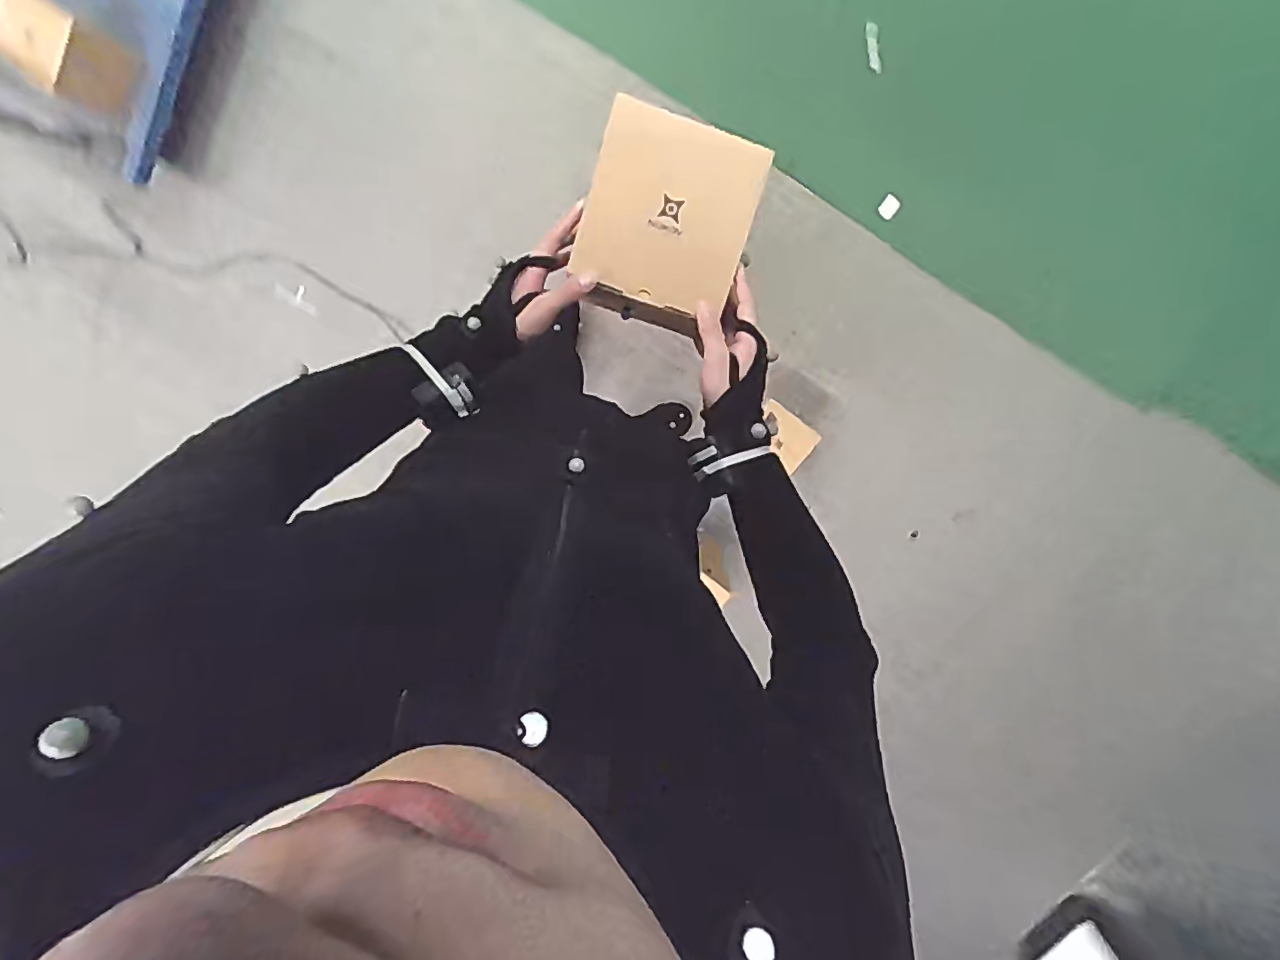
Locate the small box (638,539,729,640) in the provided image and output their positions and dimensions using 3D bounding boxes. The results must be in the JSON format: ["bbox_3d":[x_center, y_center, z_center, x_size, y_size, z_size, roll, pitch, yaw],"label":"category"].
[{"bbox_3d":[0.116,0.285,1.449,0.179,0.176,0.168,39,103,-5],"label":"small box"}]

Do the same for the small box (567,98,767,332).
[{"bbox_3d":[0.020,-0.280,0.618,0.168,0.176,0.179,15,101,-6],"label":"small box"}]

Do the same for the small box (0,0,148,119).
[{"bbox_3d":[-1.312,-0.993,1.257,0.168,0.176,0.179,35,104,-4],"label":"small box"}]

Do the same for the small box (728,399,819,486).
[{"bbox_3d":[0.364,-0.113,1.517,0.179,0.176,0.168,37,105,-5],"label":"small box"}]

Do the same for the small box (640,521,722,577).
[{"bbox_3d":[0.122,0.240,1.608,0.179,0.176,0.168,35,104,-3],"label":"small box"}]
